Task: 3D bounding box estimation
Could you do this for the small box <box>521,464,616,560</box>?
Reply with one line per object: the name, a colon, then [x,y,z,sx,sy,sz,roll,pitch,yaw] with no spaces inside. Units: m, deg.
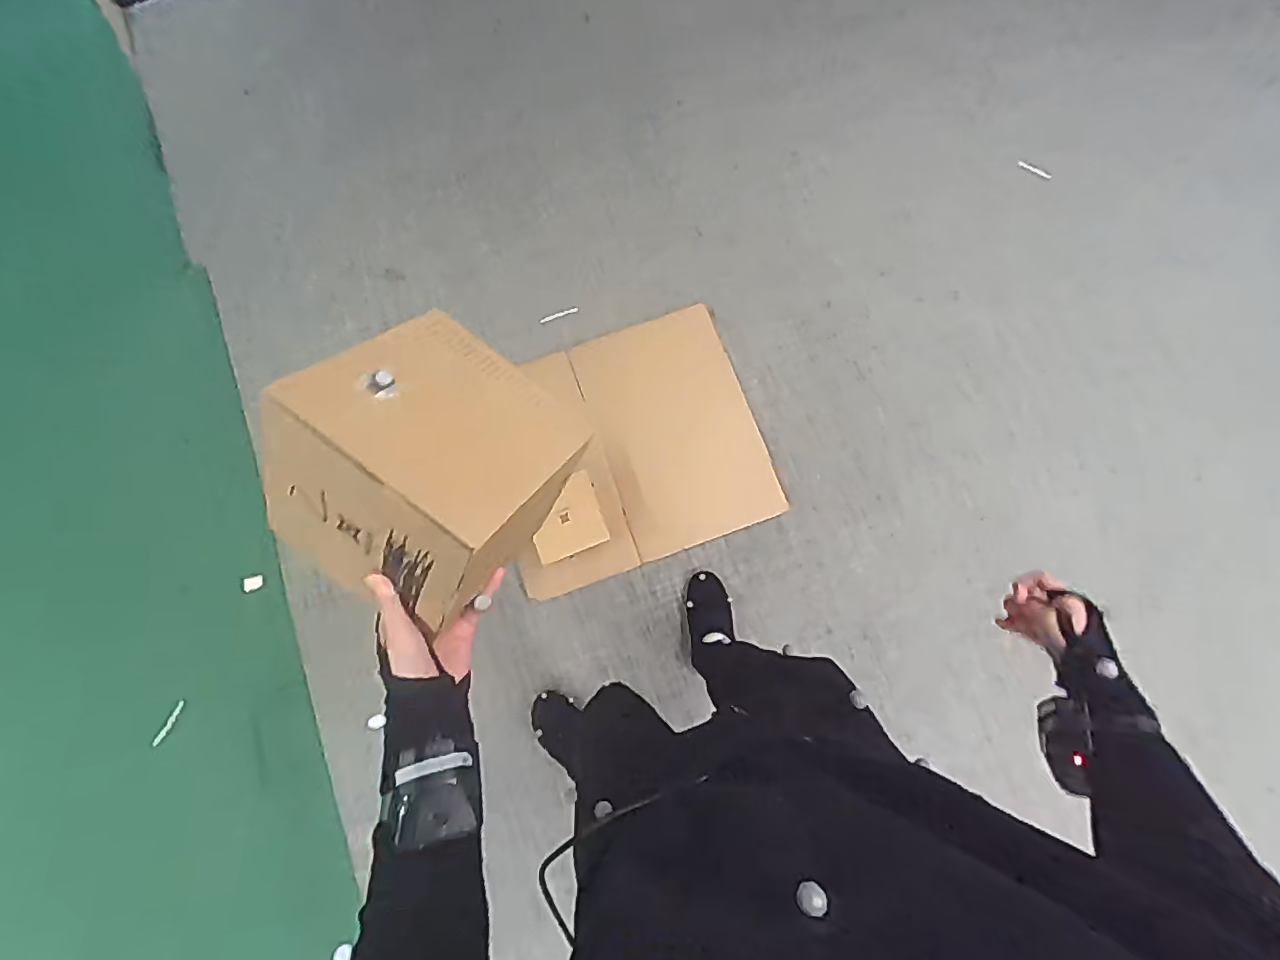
small box: [-0.163,0.081,1.289,0.168,0.176,0.179,-22,81,-3]
